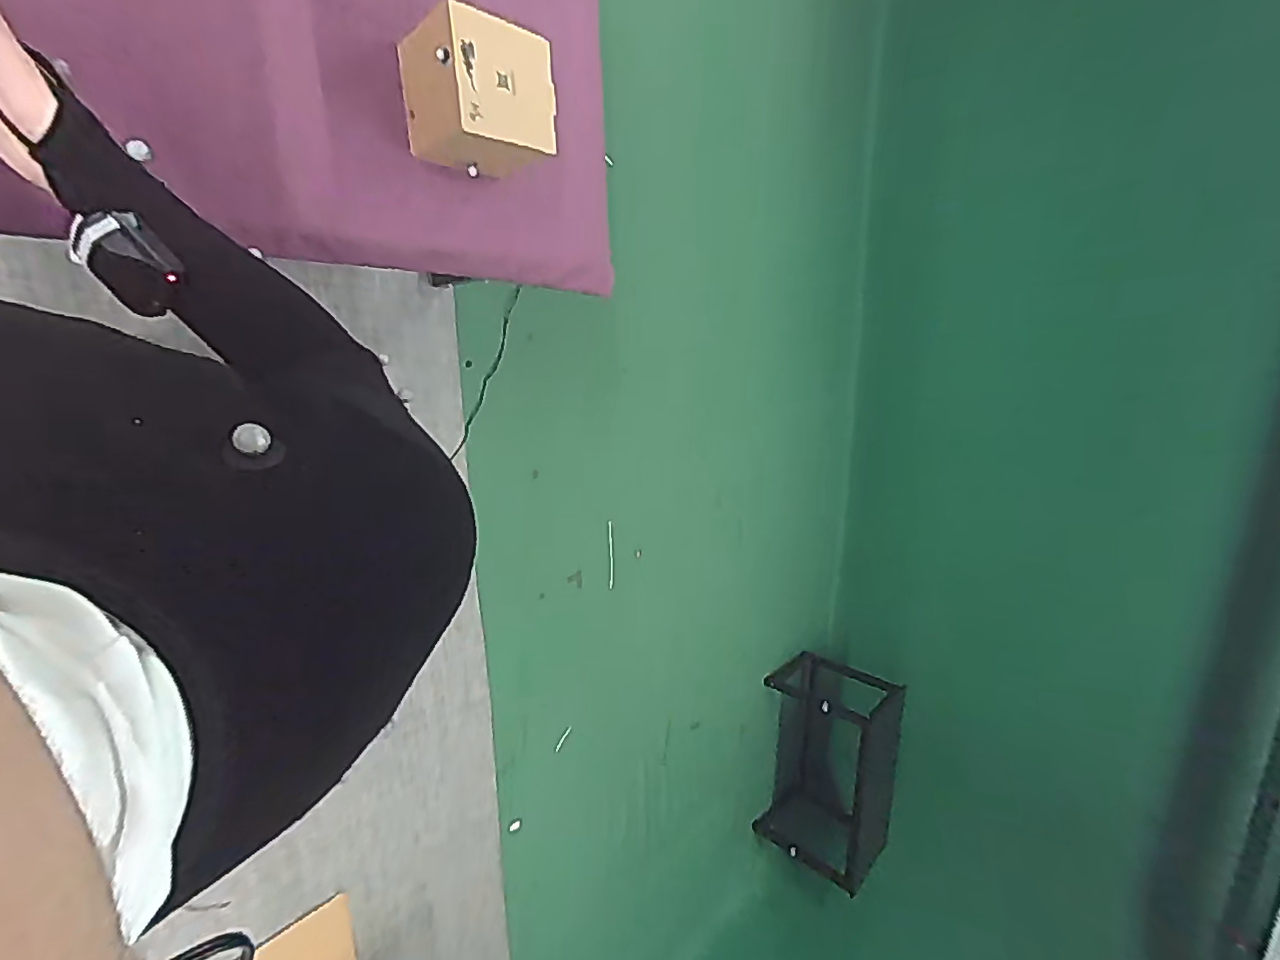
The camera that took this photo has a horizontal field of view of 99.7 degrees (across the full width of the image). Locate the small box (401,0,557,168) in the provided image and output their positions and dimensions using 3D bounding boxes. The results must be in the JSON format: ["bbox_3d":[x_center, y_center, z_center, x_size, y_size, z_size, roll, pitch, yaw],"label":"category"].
[{"bbox_3d":[-0.257,-0.622,0.871,0.179,0.176,0.168,-16,110,-44],"label":"small box"}]
